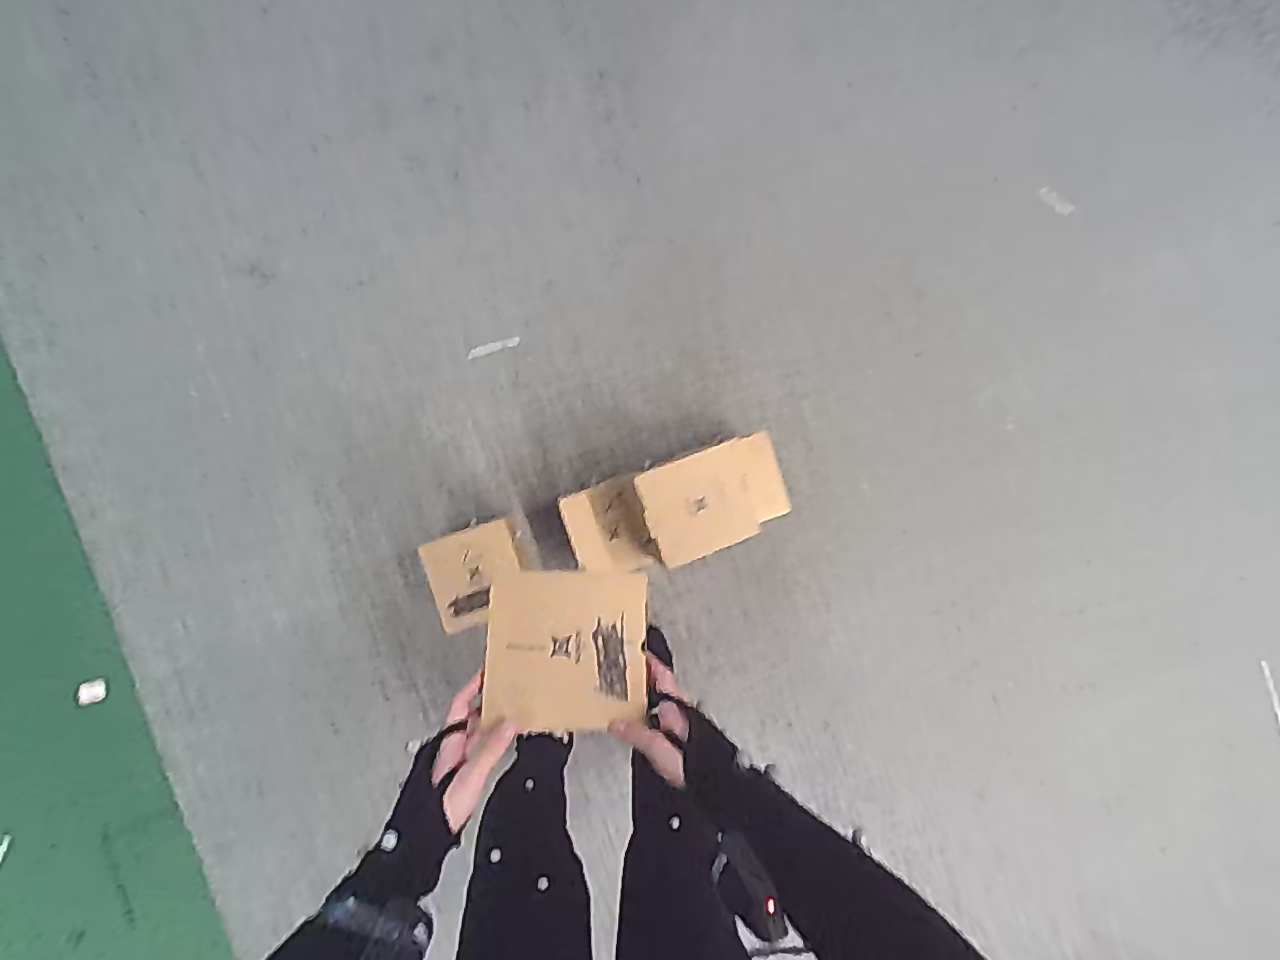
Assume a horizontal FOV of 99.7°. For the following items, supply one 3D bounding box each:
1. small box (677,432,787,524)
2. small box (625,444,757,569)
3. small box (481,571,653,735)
[{"bbox_3d":[0.185,0.009,1.154,0.168,0.176,0.179,-19,92,-8],"label":"small box"},{"bbox_3d":[0.080,0.045,0.974,0.179,0.176,0.168,-21,93,-9],"label":"small box"},{"bbox_3d":[-0.084,0.203,0.649,0.179,0.176,0.168,2,73,-8],"label":"small box"}]
